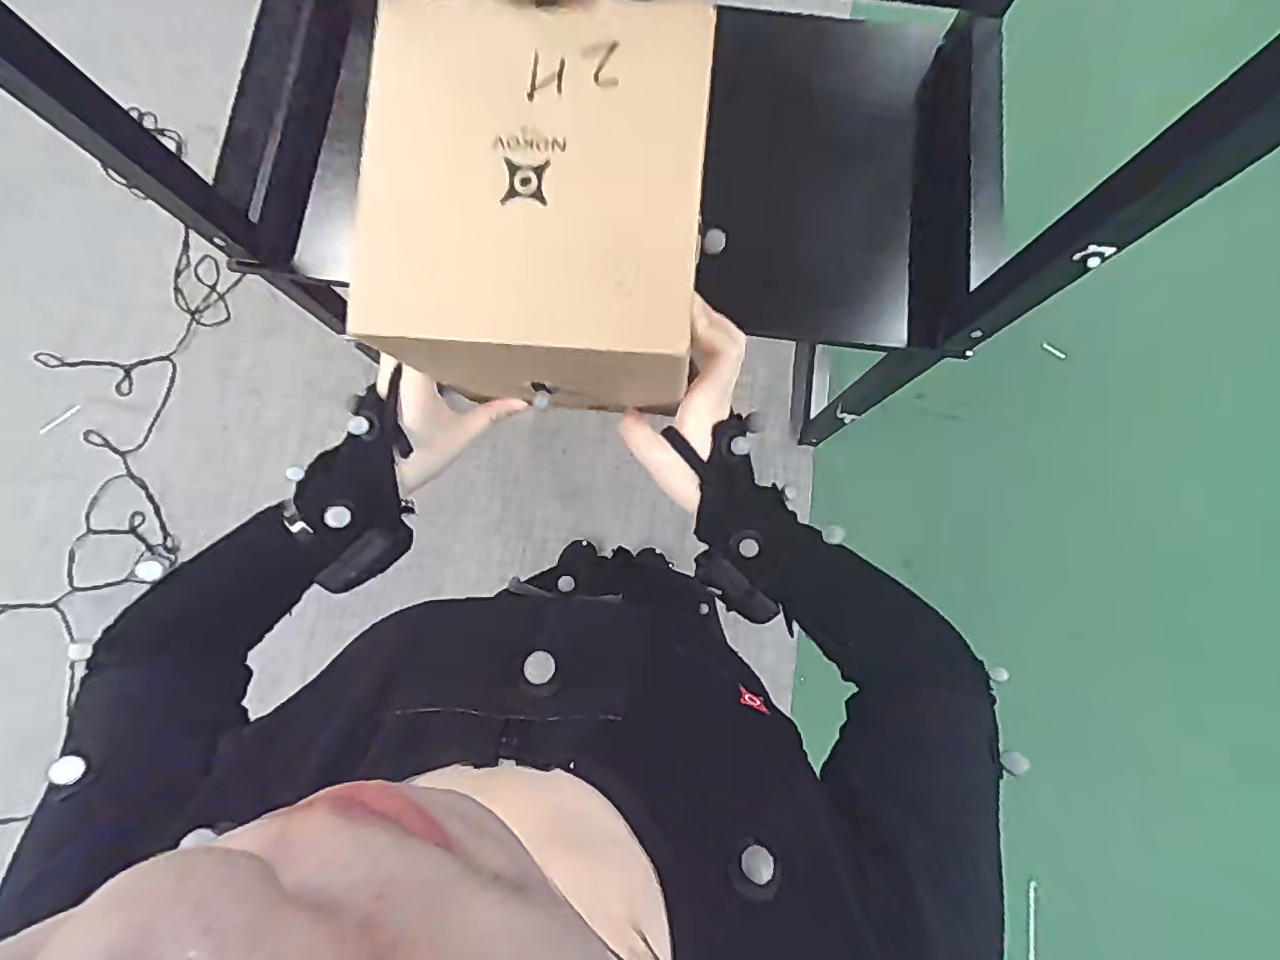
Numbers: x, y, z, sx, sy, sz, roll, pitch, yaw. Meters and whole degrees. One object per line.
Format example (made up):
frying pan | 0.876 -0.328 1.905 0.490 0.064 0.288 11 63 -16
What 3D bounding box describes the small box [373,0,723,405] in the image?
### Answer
small box | -0.042 -0.150 0.350 0.168 0.176 0.179 5 88 3
